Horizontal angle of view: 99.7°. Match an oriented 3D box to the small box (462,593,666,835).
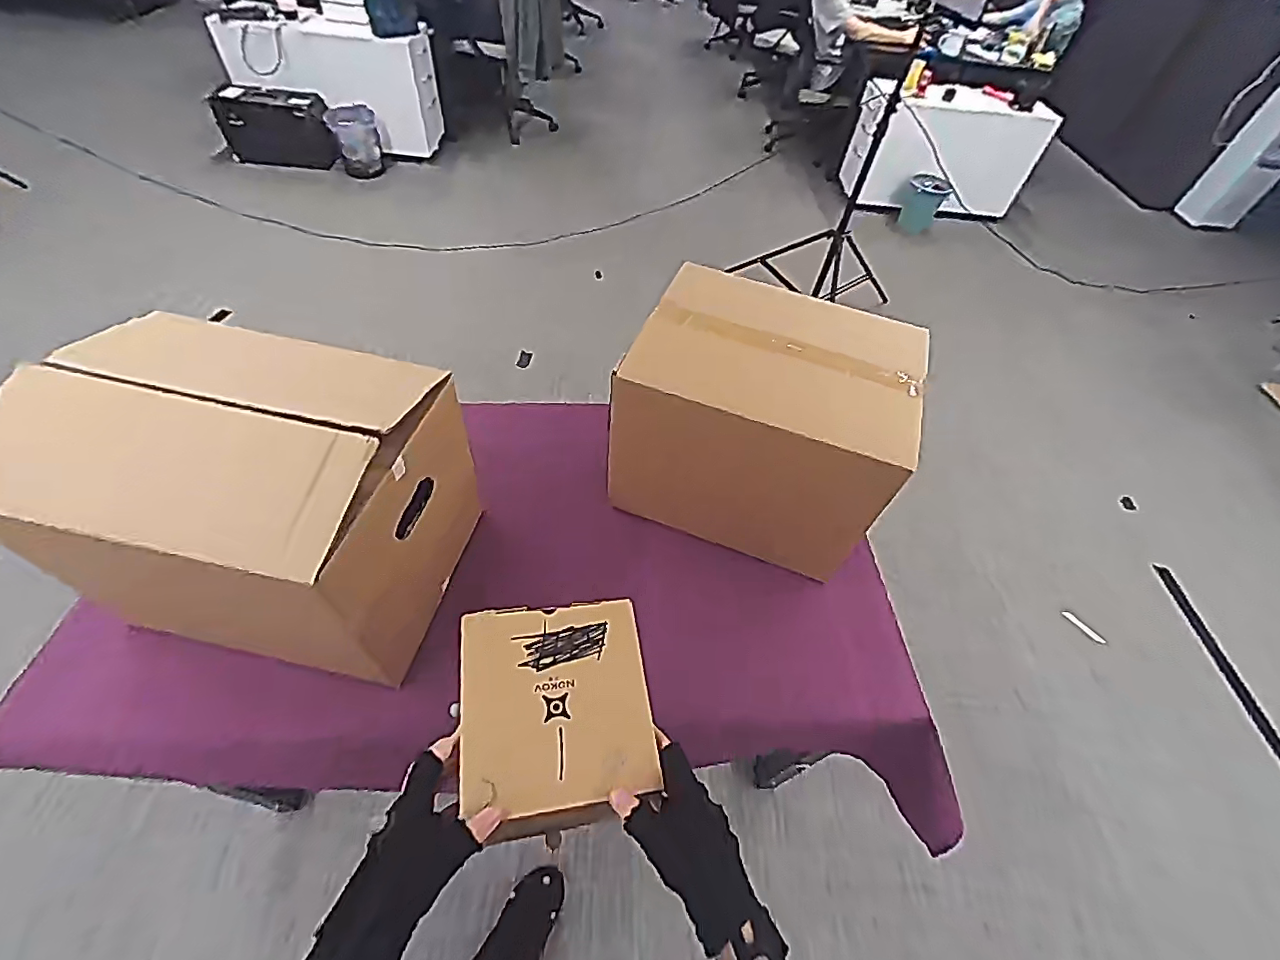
[{"bbox_3d":[-0.084,0.232,0.540,0.168,0.176,0.179,-1,53,-14],"label":"small box"}]
